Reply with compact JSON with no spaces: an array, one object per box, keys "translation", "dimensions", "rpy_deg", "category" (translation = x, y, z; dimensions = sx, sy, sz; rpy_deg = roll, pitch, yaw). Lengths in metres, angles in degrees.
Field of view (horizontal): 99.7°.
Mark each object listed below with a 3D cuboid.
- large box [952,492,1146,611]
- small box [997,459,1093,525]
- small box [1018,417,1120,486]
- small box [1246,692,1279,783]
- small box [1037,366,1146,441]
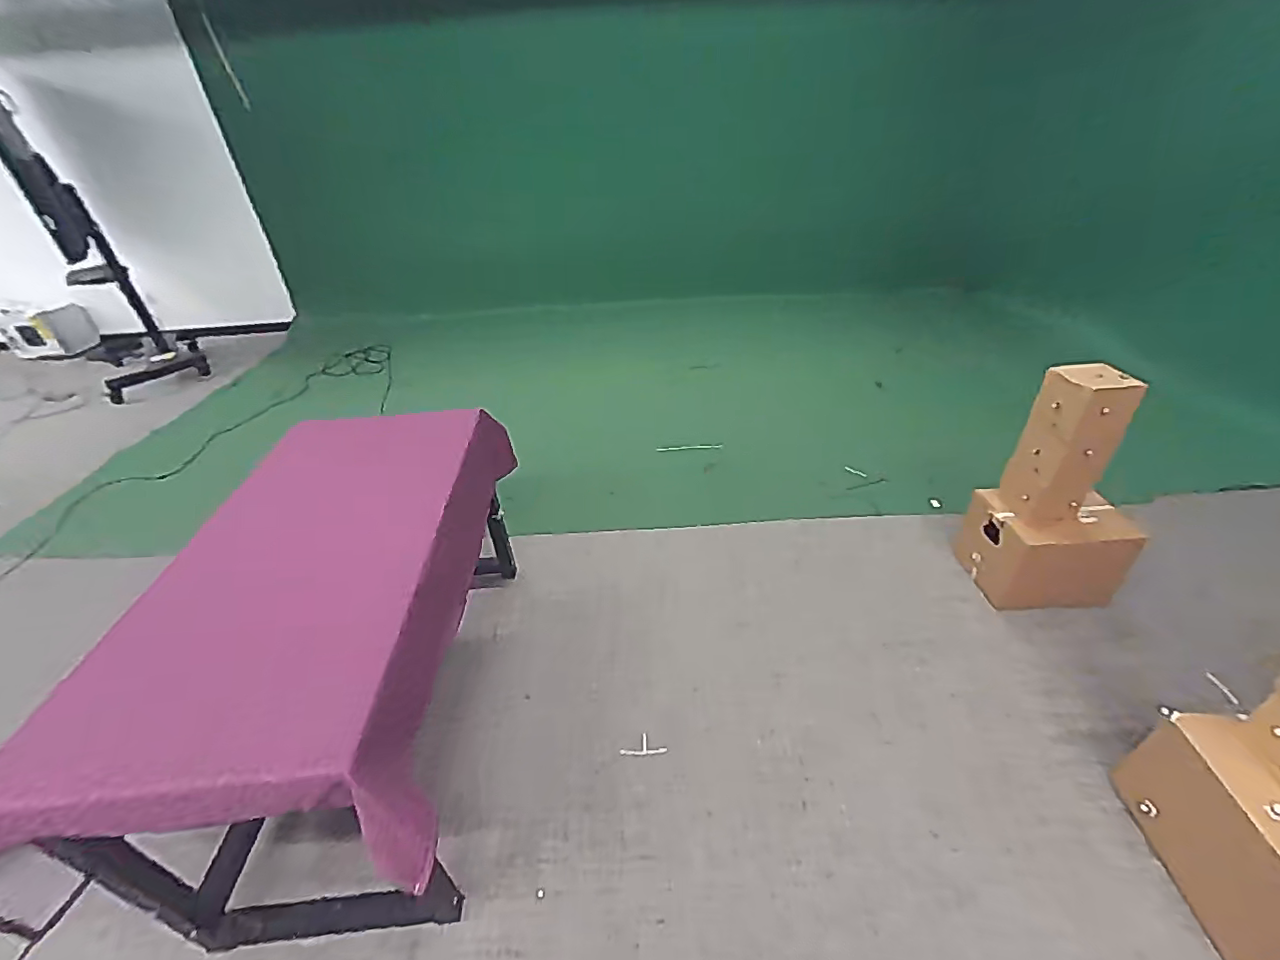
[{"translation":[1.434,0.246,1.942],"dimensions":[0.408,0.320,0.320],"rpy_deg":[-3,35,-1],"category":"large box"},{"translation":[1.351,0.040,1.817],"dimensions":[0.168,0.176,0.179],"rpy_deg":[-4,34,-1],"category":"small box"},{"translation":[1.351,-0.095,1.724],"dimensions":[0.179,0.176,0.168],"rpy_deg":[-6,35,-5],"category":"small box"},{"translation":[1.400,0.547,1.086],"dimensions":[0.179,0.176,0.168],"rpy_deg":[1,35,4],"category":"small box"},{"translation":[1.342,-0.229,1.629],"dimensions":[0.179,0.176,0.168],"rpy_deg":[-5,35,-3],"category":"small box"}]
